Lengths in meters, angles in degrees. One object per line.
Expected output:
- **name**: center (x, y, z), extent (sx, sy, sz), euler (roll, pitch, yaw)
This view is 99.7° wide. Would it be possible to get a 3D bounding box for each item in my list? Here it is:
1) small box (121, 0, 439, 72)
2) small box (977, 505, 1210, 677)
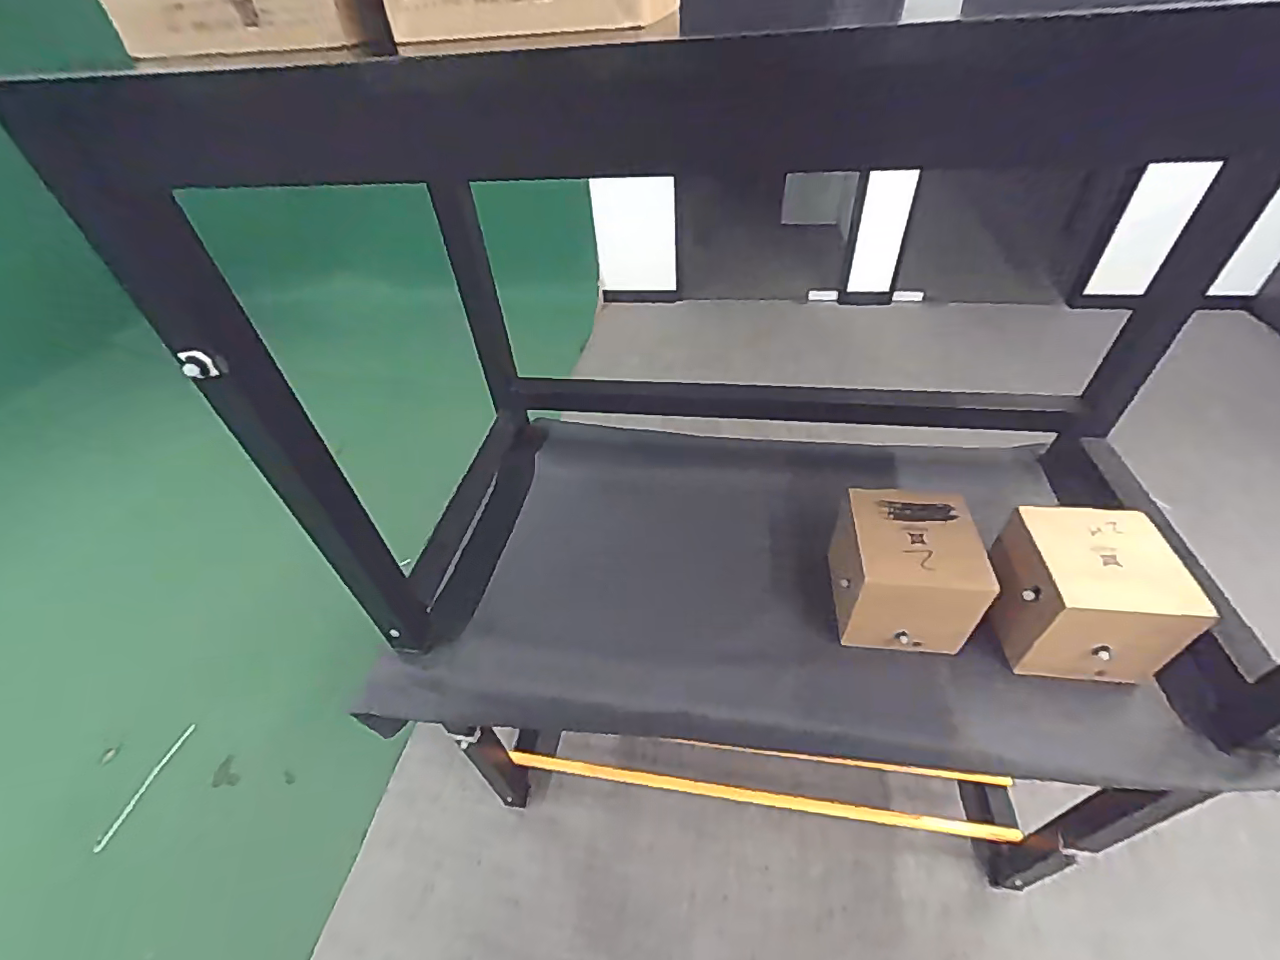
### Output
- **small box**: center (-0.262, -0.399, 0.374), extent (0.168, 0.176, 0.179), euler (3, 45, 8)
- **small box**: center (0.613, 0.157, 0.764), extent (0.168, 0.176, 0.179), euler (3, 43, 8)
